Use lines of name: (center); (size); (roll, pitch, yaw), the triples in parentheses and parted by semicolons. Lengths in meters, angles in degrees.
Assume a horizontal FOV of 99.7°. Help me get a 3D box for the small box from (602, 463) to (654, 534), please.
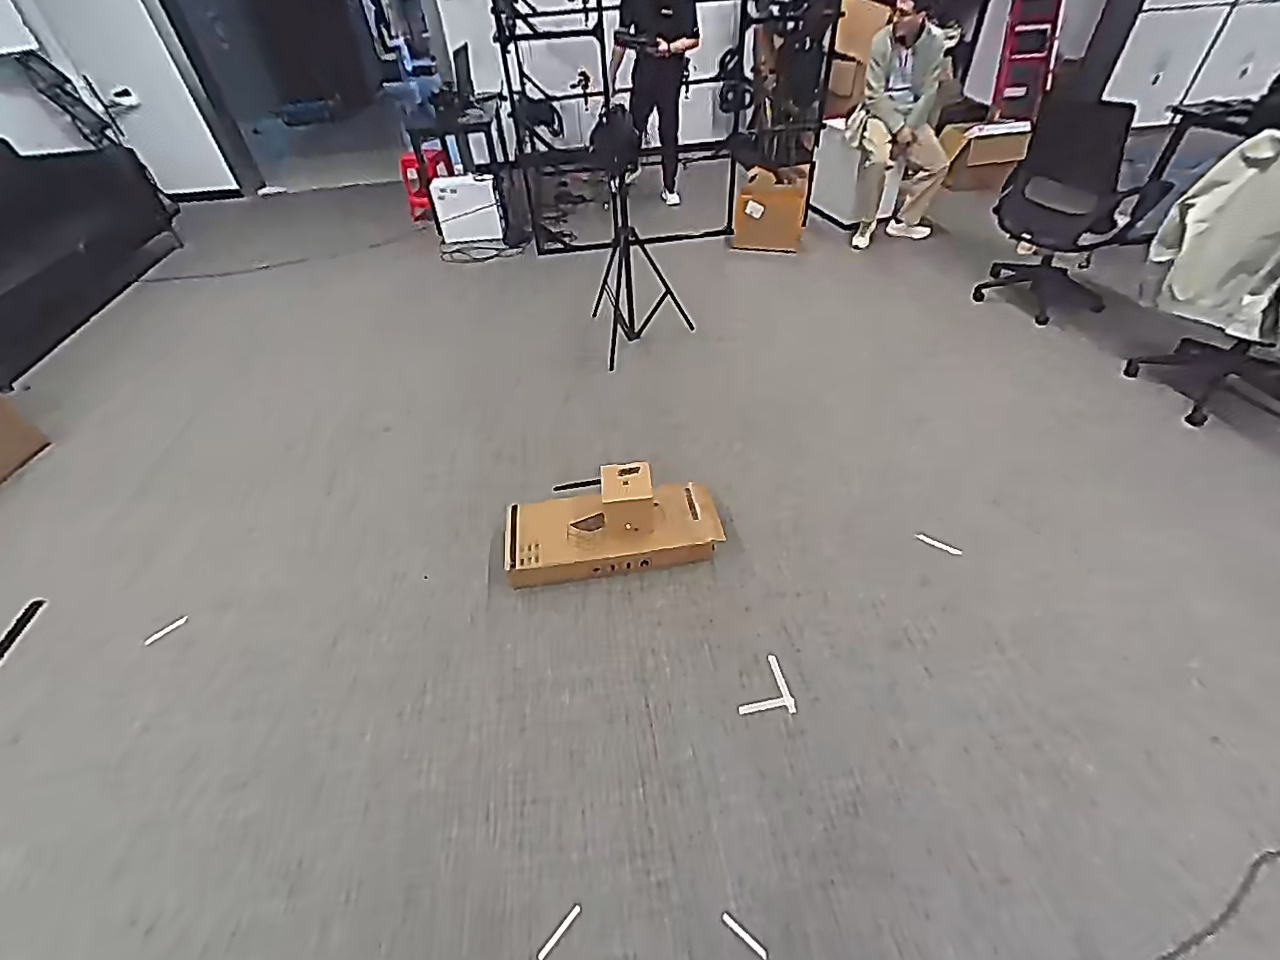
small box: (-0.041, 0.064, 1.850); (0.168, 0.176, 0.179); (-6, 44, -1)
